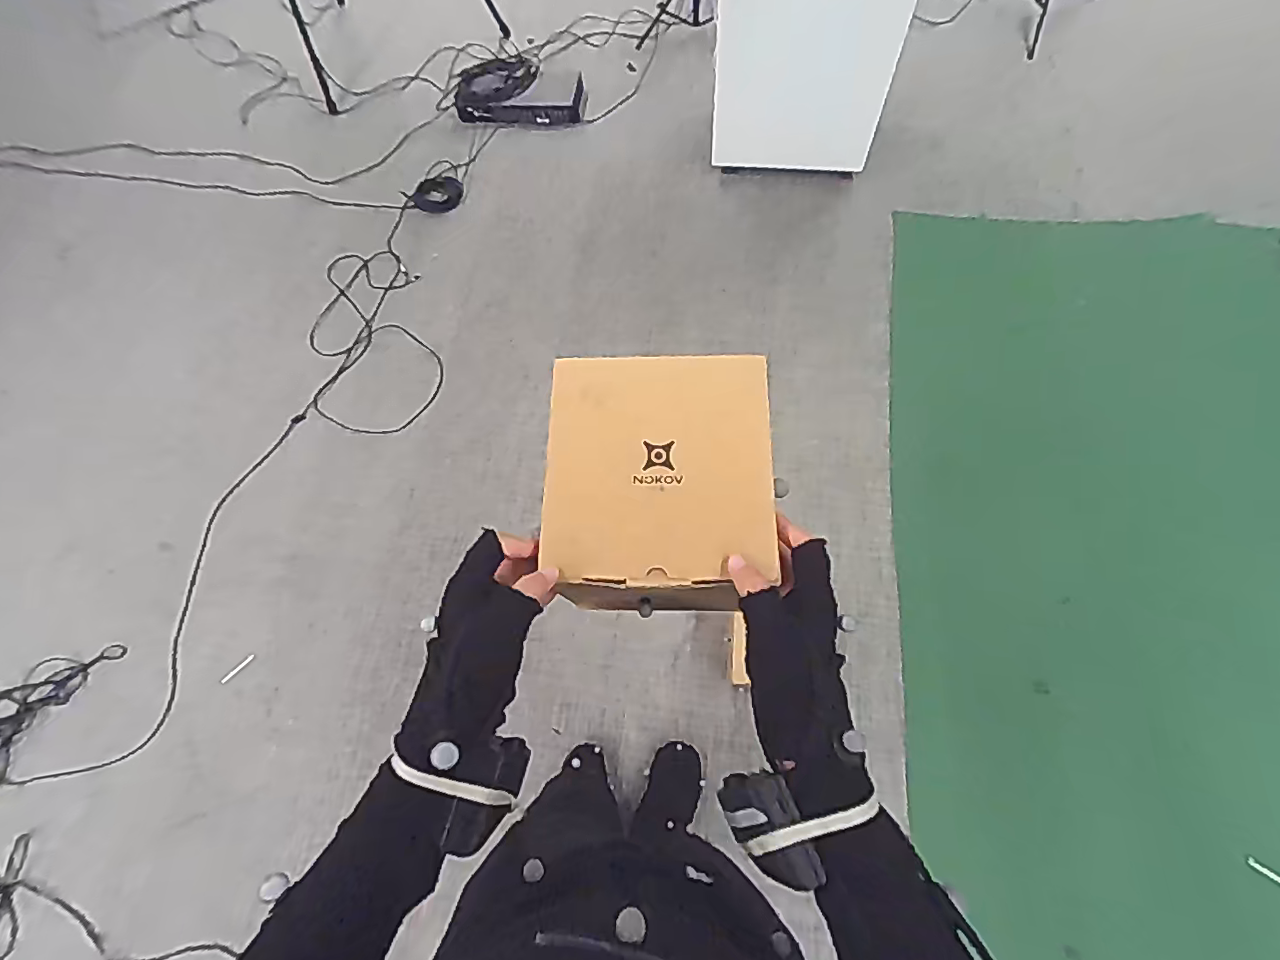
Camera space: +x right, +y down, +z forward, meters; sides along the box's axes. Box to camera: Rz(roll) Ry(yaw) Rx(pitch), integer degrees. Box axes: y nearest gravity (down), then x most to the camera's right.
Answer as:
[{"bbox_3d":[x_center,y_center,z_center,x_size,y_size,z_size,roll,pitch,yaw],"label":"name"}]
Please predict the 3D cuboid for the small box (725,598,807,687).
[{"bbox_3d":[0.287,0.380,1.251,0.168,0.176,0.179,4,69,6],"label":"small box"}]
